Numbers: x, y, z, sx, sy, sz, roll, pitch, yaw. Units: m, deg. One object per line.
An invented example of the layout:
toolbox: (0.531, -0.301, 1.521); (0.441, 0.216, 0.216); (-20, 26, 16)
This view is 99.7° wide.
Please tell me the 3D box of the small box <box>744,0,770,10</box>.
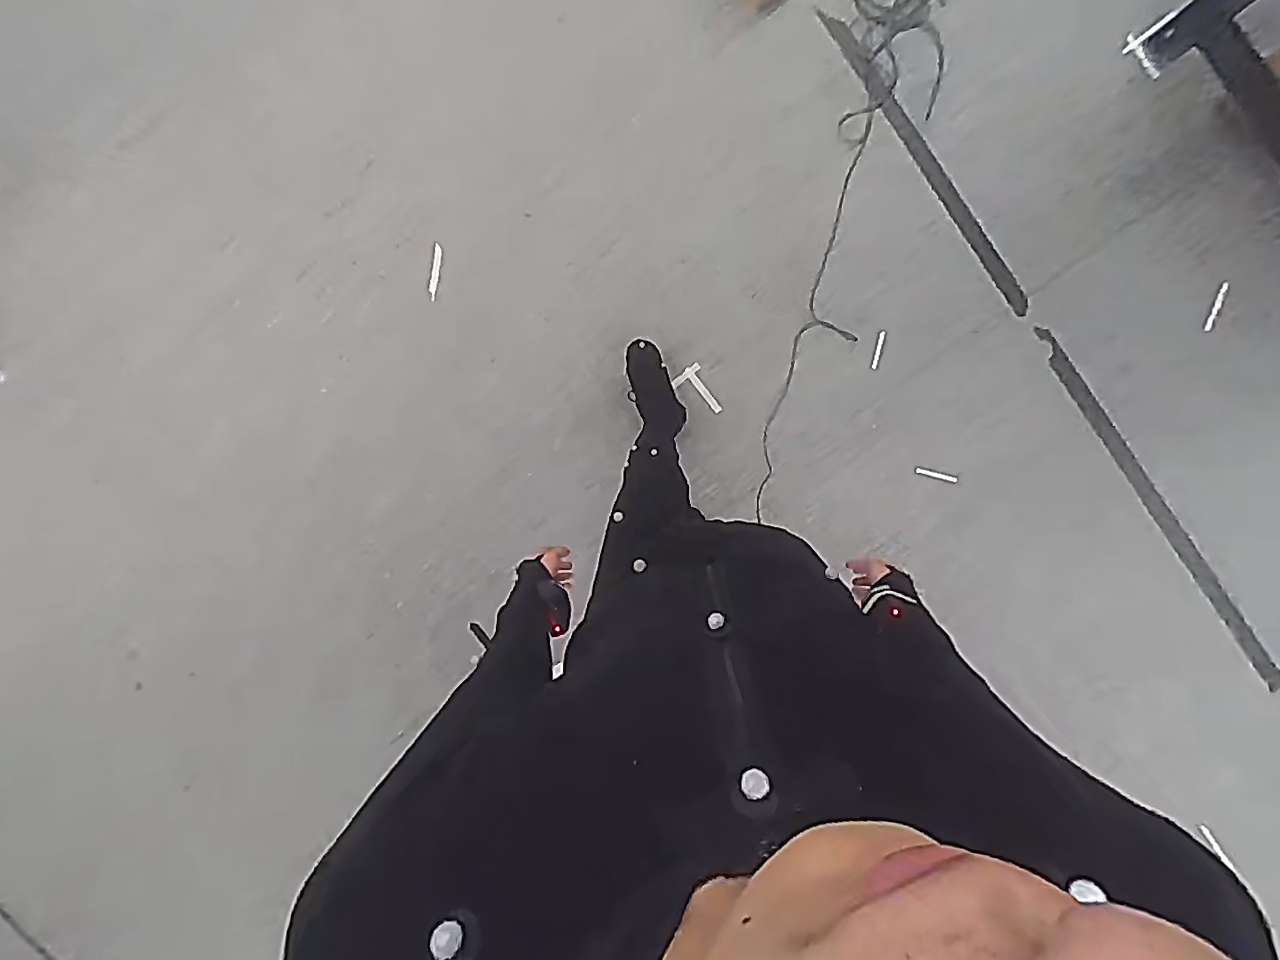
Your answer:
small box: (0.326, -1.408, 1.415); (0.168, 0.176, 0.179); (-34, 91, 6)
